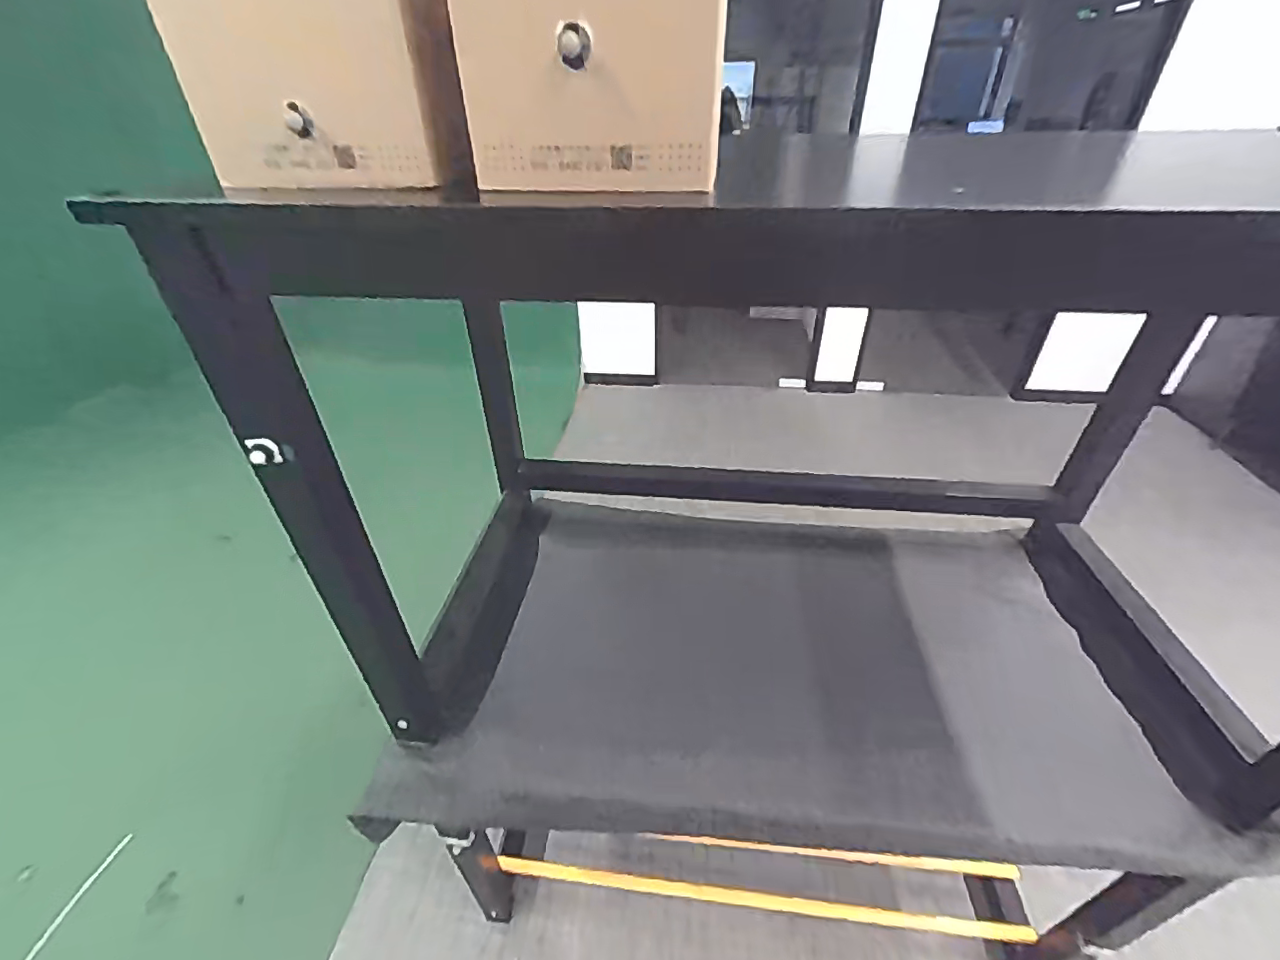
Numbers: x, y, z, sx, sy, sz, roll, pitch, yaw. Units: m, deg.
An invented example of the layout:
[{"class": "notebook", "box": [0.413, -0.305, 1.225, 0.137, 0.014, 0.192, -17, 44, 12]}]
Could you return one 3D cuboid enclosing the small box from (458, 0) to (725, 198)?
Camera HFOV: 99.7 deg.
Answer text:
[{"class": "small box", "box": [-0.022, -0.315, 0.405, 0.168, 0.176, 0.179, 4, 36, 6]}]
